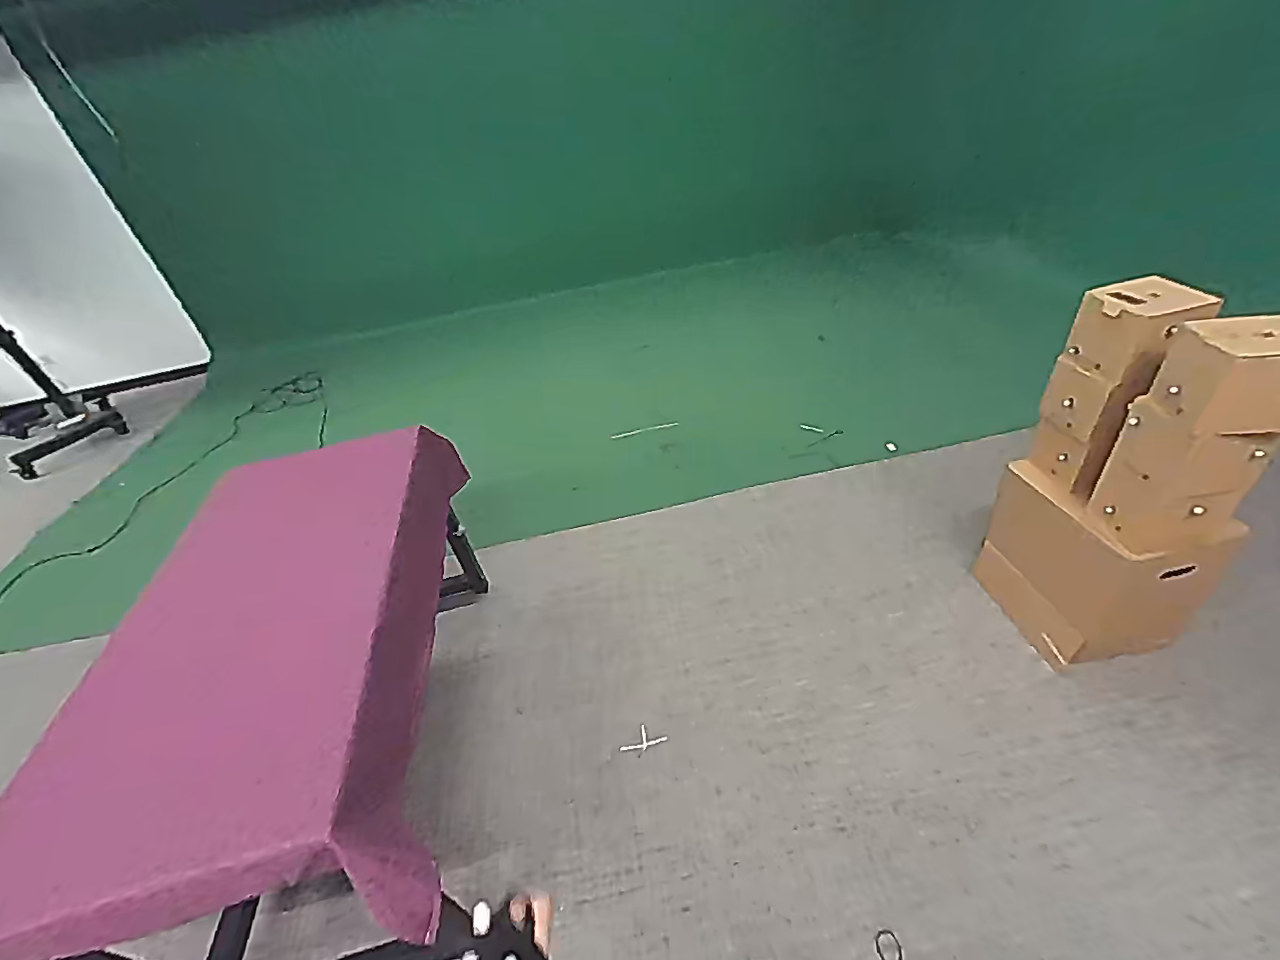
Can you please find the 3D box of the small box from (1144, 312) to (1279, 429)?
[{"bbox_3d":[1.163,-0.212,1.062,0.179,0.176,0.168,-2,37,13],"label":"small box"}]

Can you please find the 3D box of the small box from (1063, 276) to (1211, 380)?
[{"bbox_3d":[1.134,-0.352,1.258,0.179,0.176,0.168,-13,39,-3],"label":"small box"}]

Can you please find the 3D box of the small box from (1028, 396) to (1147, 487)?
[{"bbox_3d":[1.192,-0.101,1.462,0.179,0.176,0.168,-12,39,-1],"label":"small box"}]

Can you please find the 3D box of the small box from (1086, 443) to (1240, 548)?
[{"bbox_3d":[1.212,0.037,1.272,0.179,0.176,0.168,-10,36,4],"label":"small box"}]
